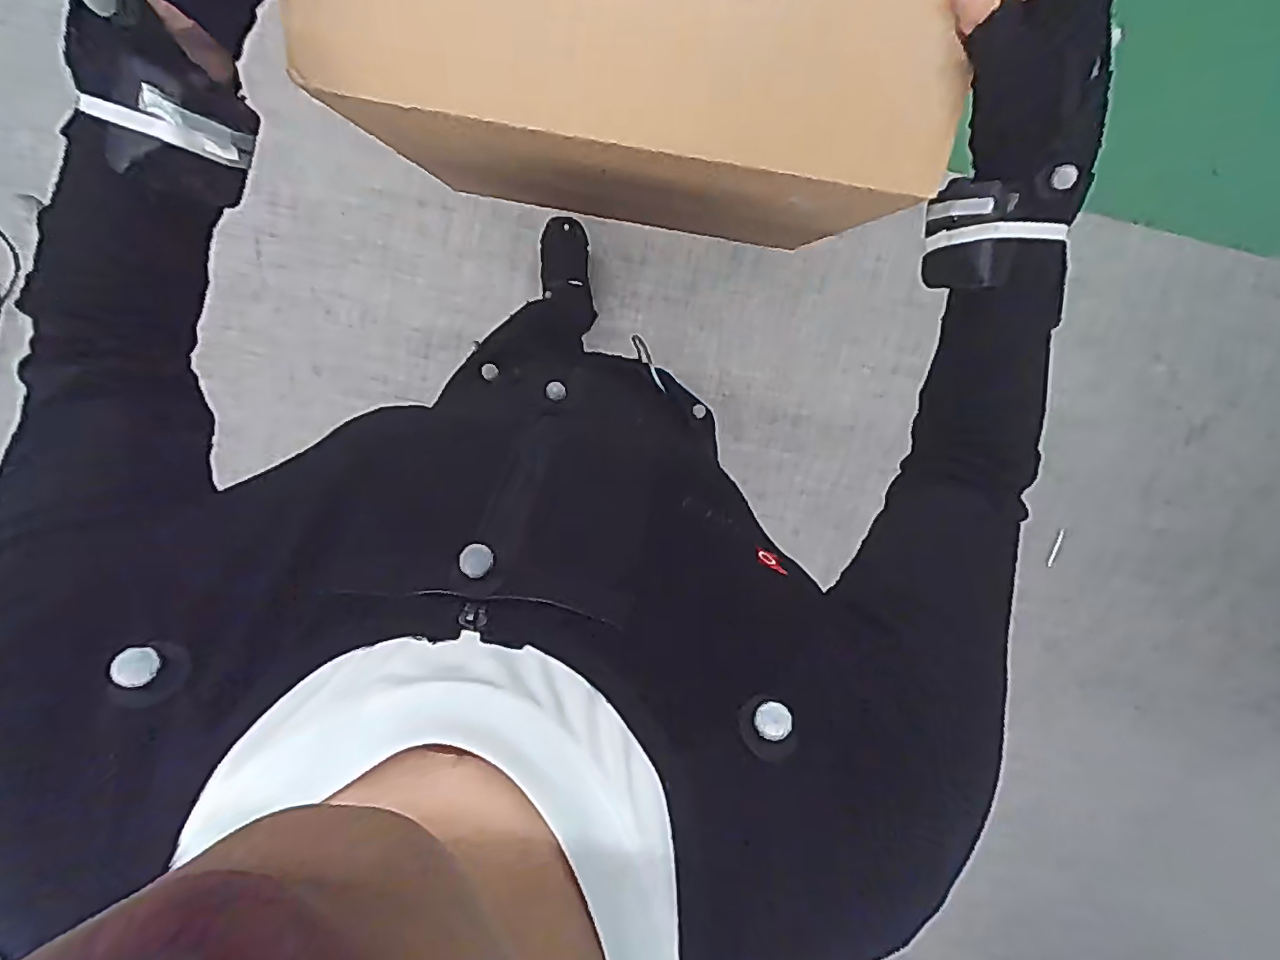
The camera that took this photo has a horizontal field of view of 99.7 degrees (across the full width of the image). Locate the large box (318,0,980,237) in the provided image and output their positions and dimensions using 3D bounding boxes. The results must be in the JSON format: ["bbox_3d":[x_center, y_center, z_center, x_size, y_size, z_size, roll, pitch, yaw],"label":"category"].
[{"bbox_3d":[0.015,-0.409,0.444,0.408,0.320,0.320,8,108,-4],"label":"large box"}]
